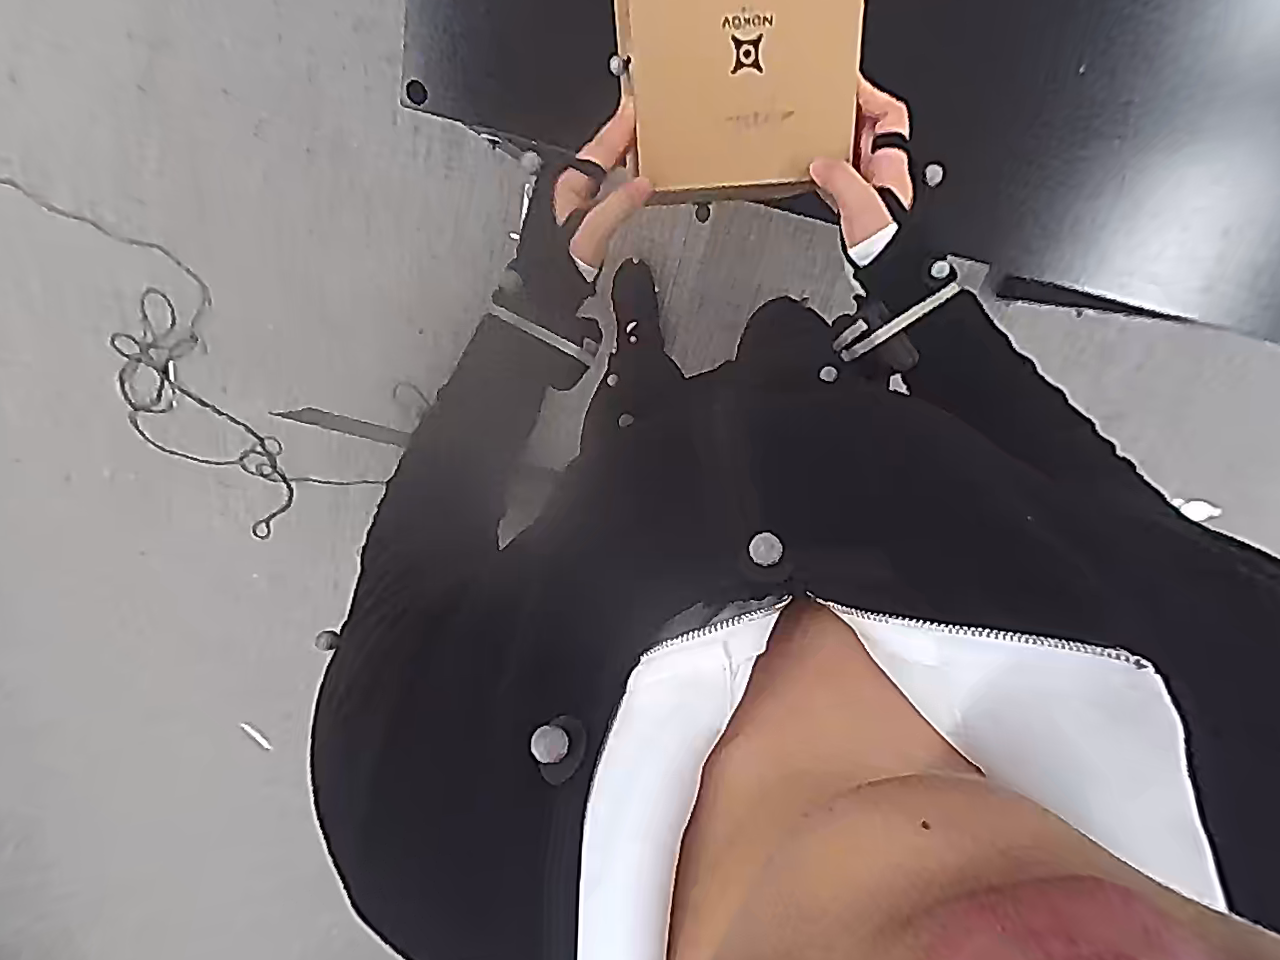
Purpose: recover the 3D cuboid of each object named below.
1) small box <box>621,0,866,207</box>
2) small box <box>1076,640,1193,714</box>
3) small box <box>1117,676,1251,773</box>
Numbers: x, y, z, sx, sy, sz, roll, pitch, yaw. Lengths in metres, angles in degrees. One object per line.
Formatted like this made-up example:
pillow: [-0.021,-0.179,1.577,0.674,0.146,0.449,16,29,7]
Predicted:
small box: [0.073,-0.339,0.456,0.168,0.176,0.179,-5,114,-1]
small box: [1.529,0.626,1.687,0.179,0.176,0.168,15,113,-4]
small box: [1.525,0.687,1.532,0.168,0.176,0.179,13,114,-4]
